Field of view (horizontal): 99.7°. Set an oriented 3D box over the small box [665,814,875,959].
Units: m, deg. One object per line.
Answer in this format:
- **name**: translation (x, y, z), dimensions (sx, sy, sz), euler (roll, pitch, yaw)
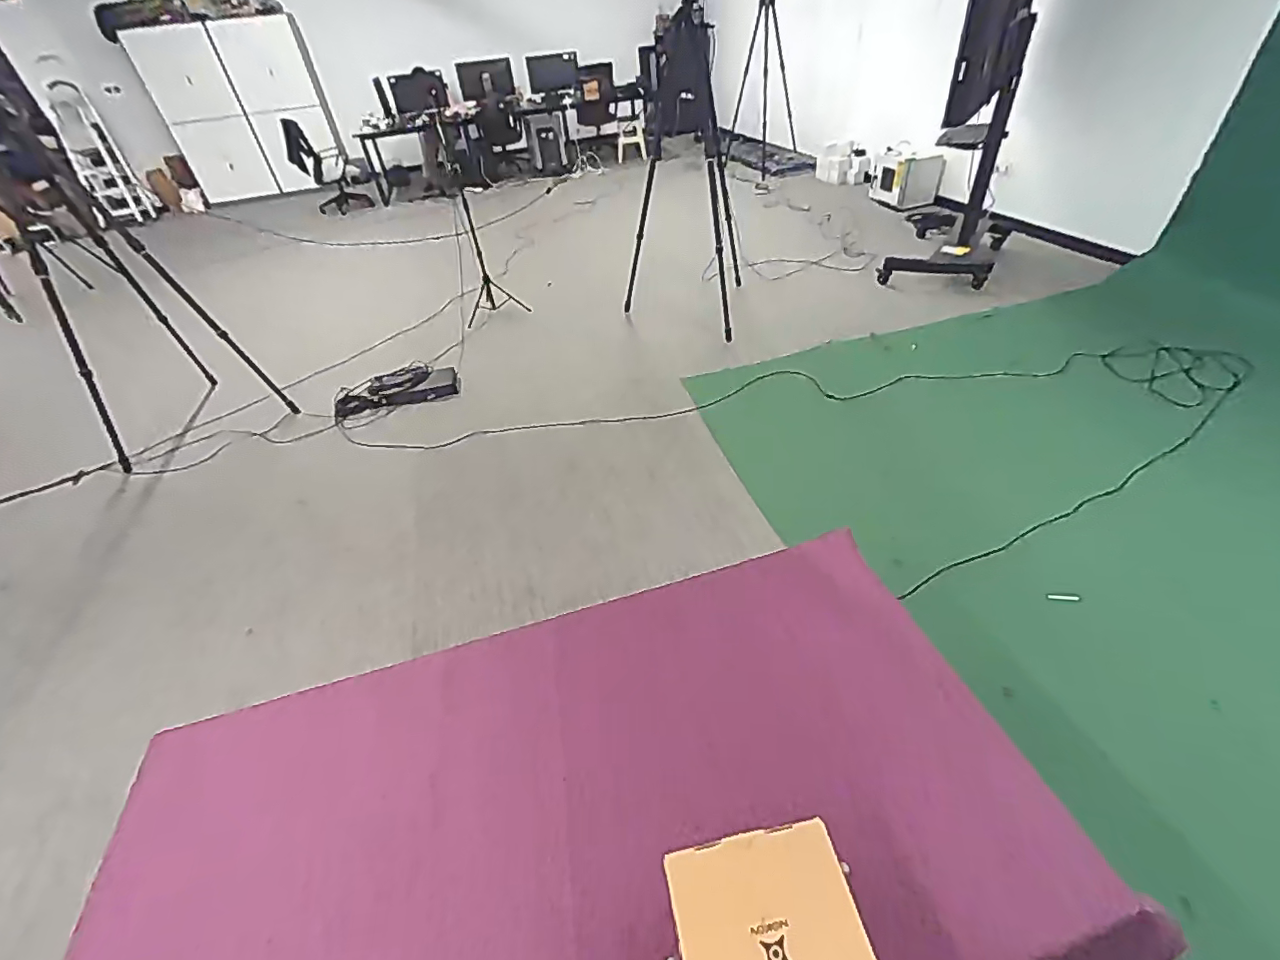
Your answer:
- **small box**: translation (0.127, 0.467, 0.529), dimensions (0.168, 0.176, 0.179), euler (-11, 40, -3)
